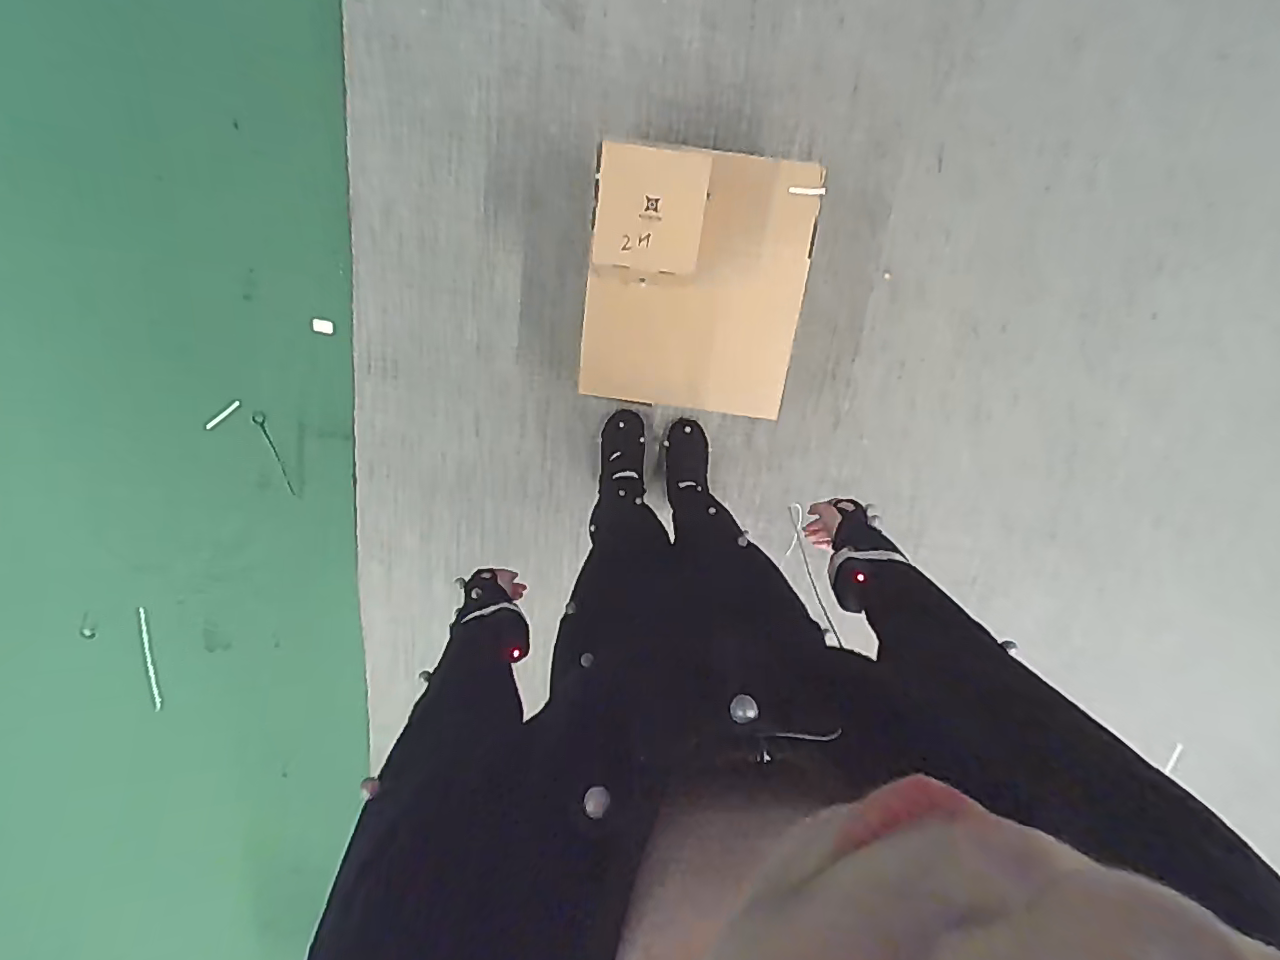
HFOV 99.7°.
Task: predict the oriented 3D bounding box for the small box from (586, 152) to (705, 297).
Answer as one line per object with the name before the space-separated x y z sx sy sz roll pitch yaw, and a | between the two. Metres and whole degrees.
small box | 0.007 -0.417 0.911 0.168 0.176 0.179 7 103 -1
